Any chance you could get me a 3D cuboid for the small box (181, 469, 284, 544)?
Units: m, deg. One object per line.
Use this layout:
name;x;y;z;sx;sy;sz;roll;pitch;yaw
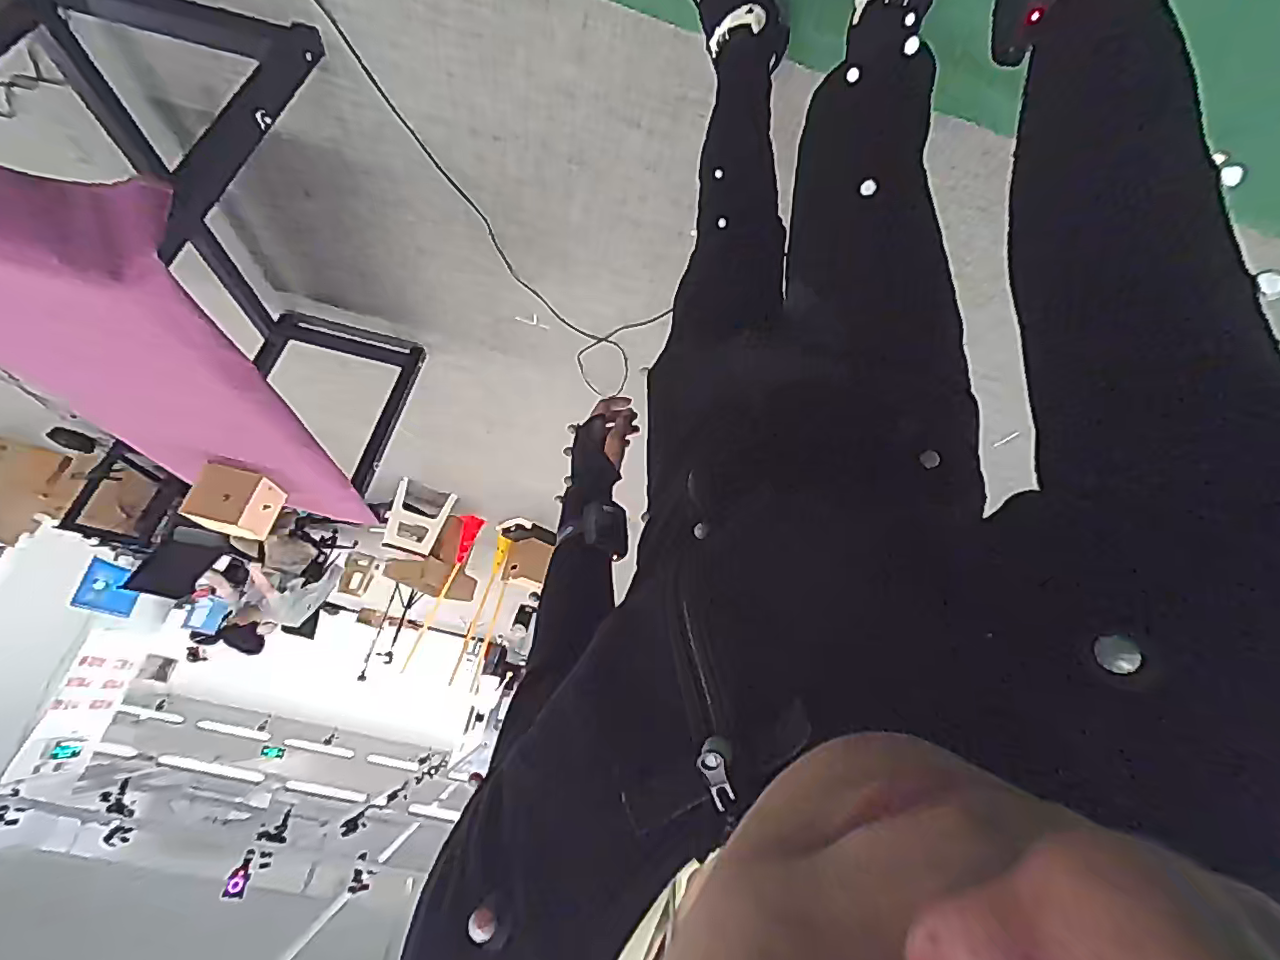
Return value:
small box;-1.239;0.082;1.667;0.179;0.176;0.168;13;155;-3
